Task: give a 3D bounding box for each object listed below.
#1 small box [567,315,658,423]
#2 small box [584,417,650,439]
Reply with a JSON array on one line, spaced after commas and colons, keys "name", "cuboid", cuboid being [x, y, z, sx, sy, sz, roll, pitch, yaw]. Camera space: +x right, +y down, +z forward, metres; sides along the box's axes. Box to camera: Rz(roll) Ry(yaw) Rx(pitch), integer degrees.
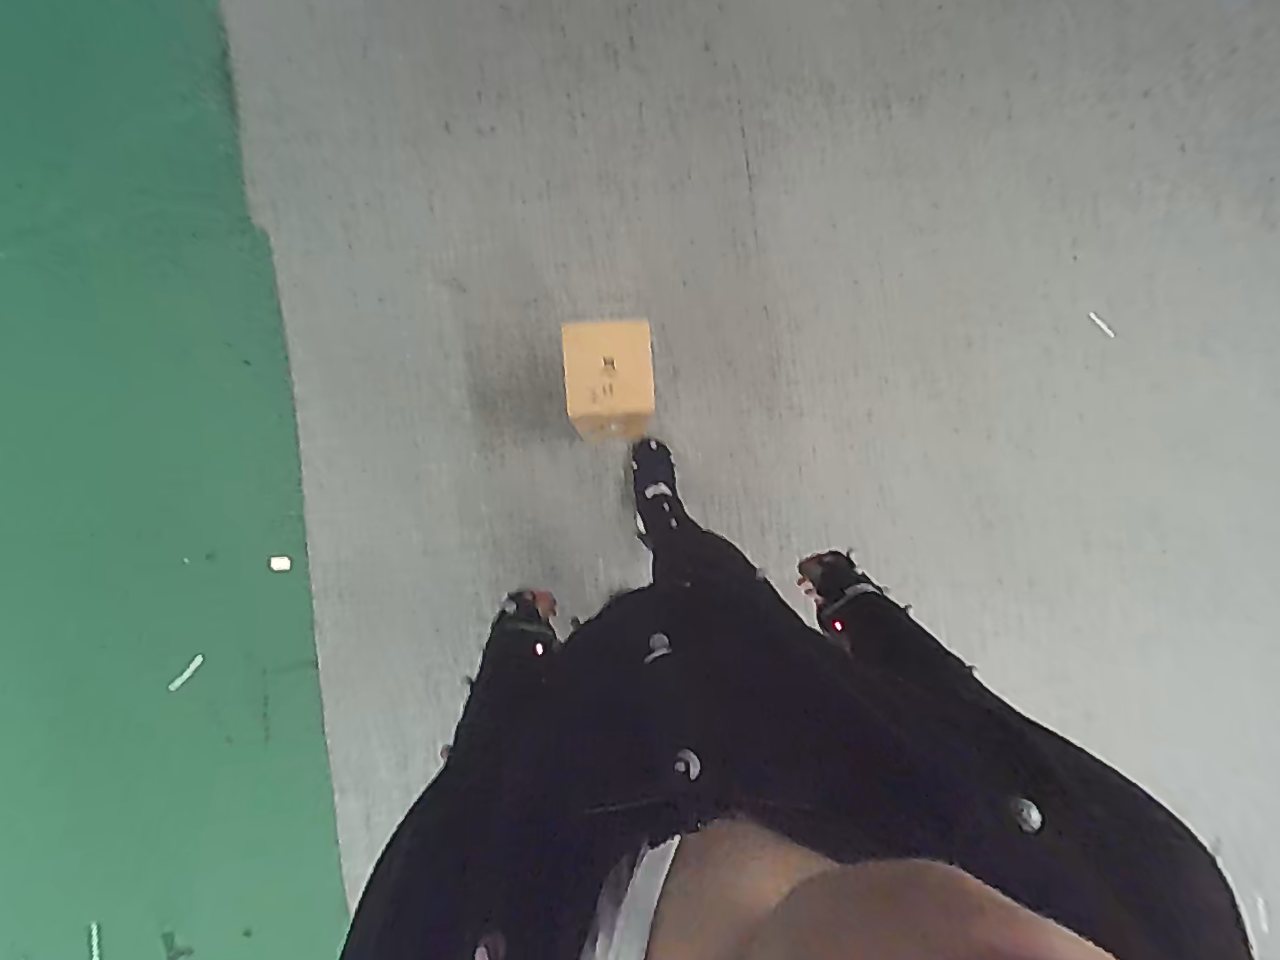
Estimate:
[{"name": "small box", "cuboid": [-0.056, -0.216, 1.084, 0.168, 0.176, 0.179, -4, 89, -2]}, {"name": "small box", "cuboid": [-0.069, -0.210, 1.412, 0.168, 0.176, 0.179, -7, 90, -3]}]
